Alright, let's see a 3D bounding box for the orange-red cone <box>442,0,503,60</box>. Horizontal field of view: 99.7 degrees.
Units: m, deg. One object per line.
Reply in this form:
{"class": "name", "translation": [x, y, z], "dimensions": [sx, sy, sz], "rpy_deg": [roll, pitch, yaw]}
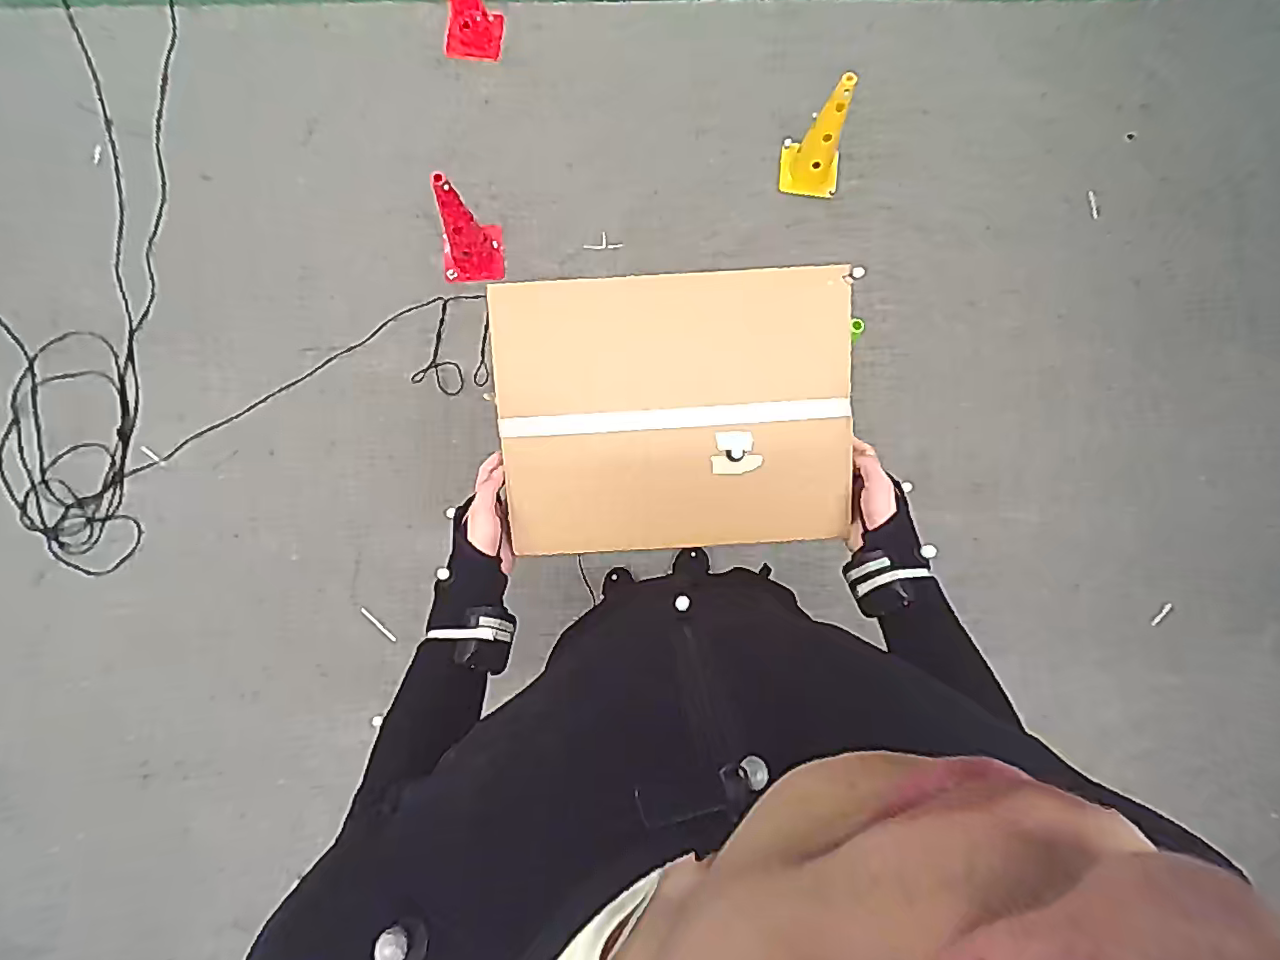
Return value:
{"class": "orange-red cone", "translation": [-0.602, -1.632, 1.781], "dimensions": [0.199, 0.360, 0.198], "rpy_deg": [5, 79, 1]}

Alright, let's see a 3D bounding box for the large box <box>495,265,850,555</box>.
{"class": "large box", "translation": [0.040, -0.097, 0.777], "dimensions": [0.408, 0.320, 0.320], "rpy_deg": [-4, 99, -1]}
